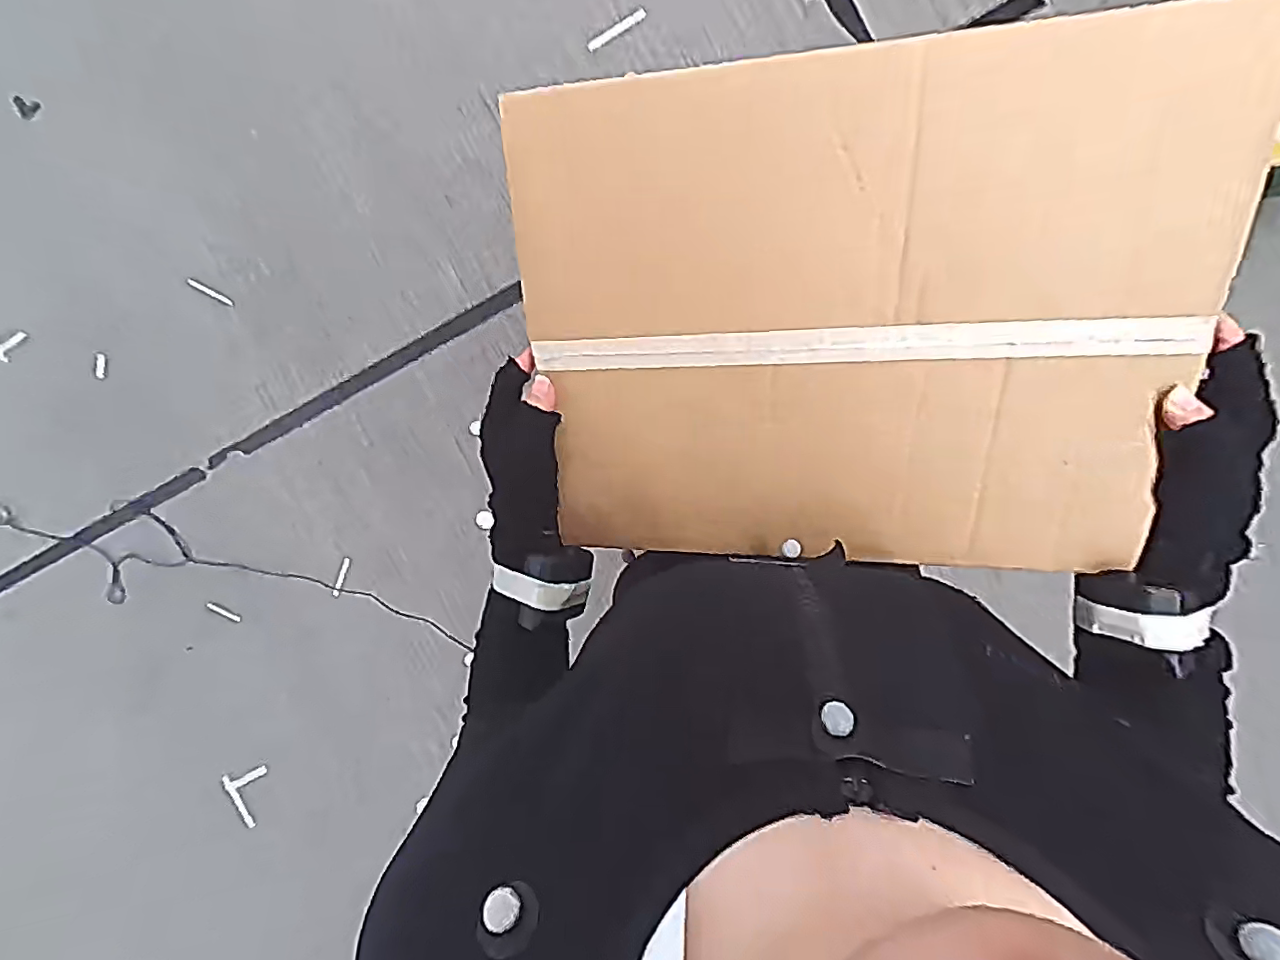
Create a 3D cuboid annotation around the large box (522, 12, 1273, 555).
[{"bbox_3d":[0.155,-0.147,0.495,0.408,0.320,0.320,1,114,12],"label":"large box"}]
